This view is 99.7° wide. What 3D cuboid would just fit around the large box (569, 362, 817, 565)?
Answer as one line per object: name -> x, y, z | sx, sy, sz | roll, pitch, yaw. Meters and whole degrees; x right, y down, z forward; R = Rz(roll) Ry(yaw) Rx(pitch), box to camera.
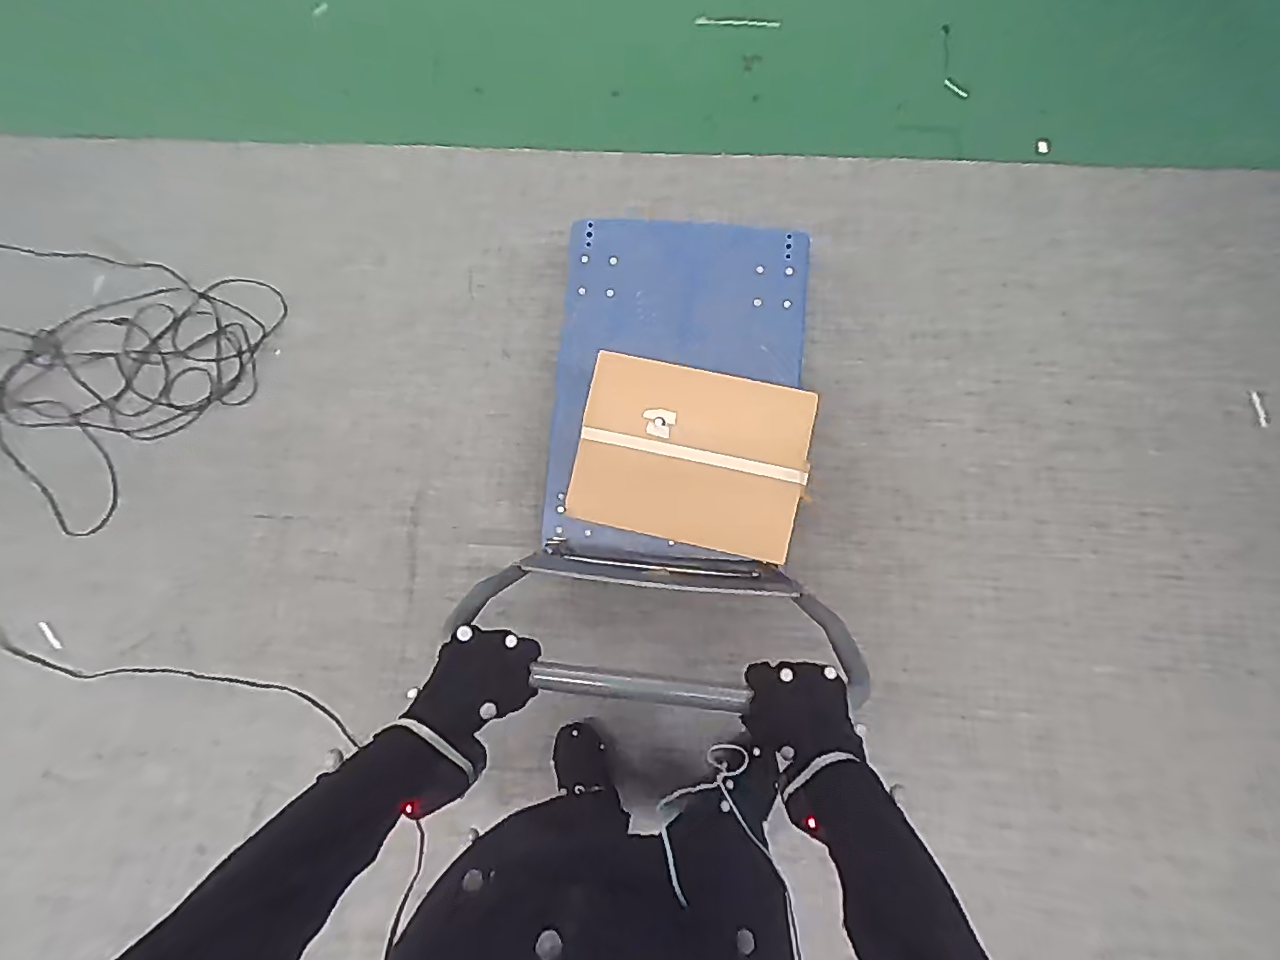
large box -> 0.107, -0.026, 1.111 | 0.408, 0.320, 0.320 | 11, 87, 6
